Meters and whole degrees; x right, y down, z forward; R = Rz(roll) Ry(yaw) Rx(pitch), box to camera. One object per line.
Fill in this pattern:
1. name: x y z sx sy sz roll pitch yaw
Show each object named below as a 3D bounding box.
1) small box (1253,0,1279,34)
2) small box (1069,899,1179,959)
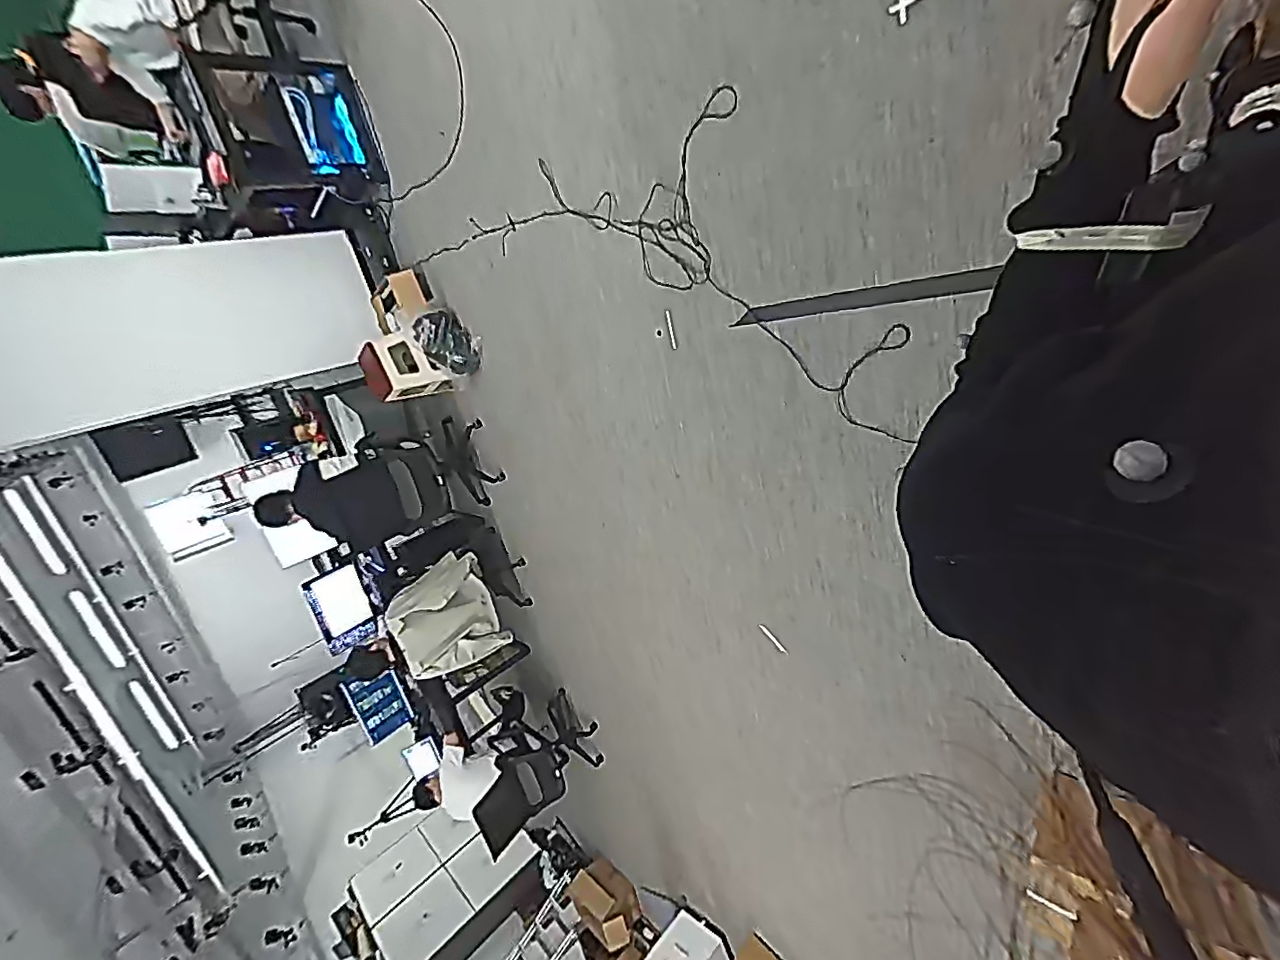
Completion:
1. small box: 0.349 -0.321 0.202 0.168 0.176 0.179 -5 102 49
2. small box: 1.132 1.149 1.267 0.179 0.176 0.168 6 115 48
